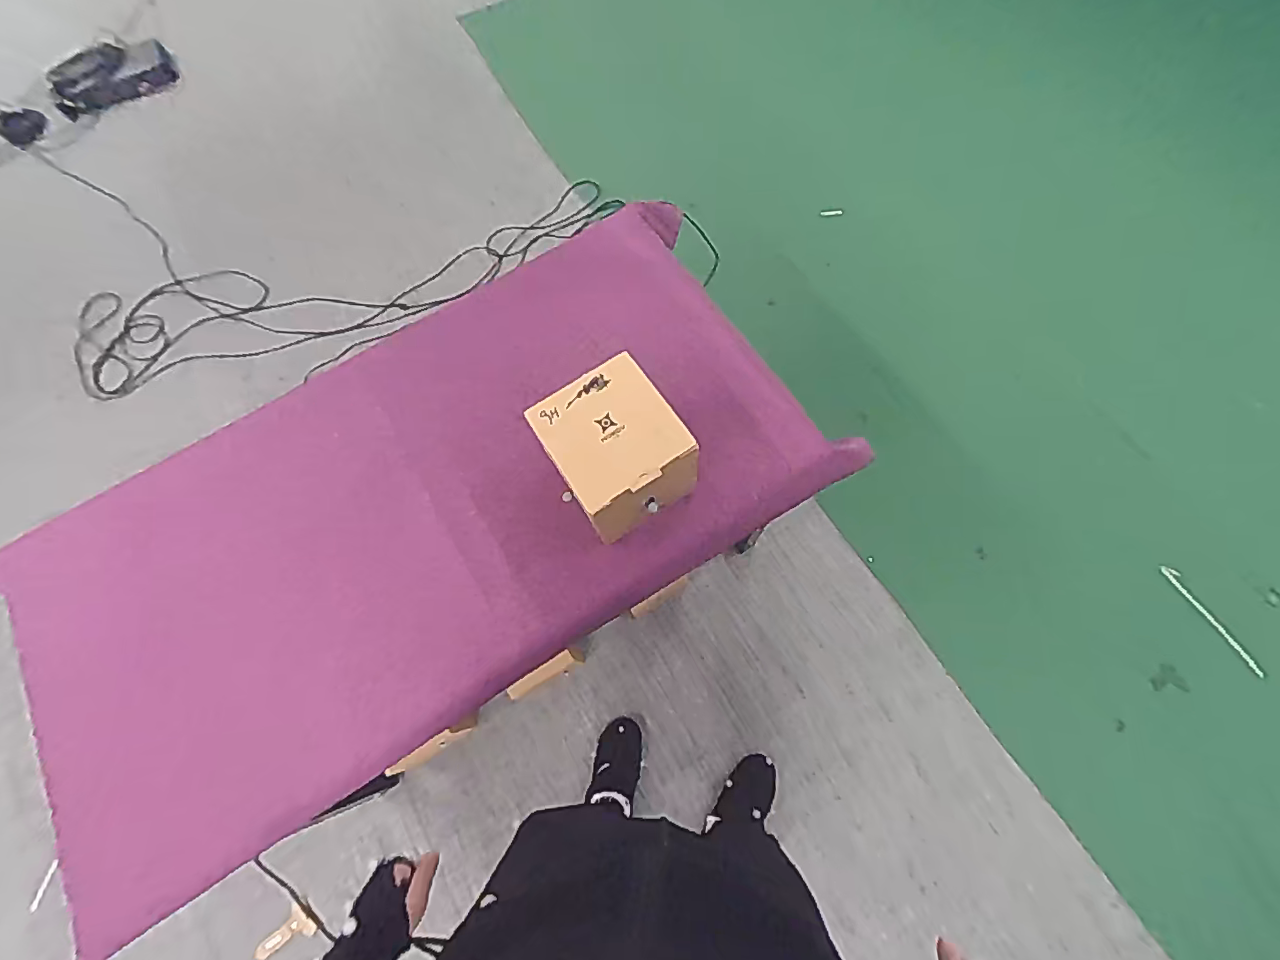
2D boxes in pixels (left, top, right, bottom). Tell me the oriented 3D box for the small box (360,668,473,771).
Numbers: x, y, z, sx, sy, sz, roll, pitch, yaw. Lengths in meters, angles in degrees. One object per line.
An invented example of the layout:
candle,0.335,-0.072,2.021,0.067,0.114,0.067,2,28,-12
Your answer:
small box,-0.553,0.594,1.356,0.179,0.176,0.168,-32,72,-8

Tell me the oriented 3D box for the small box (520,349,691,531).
small box,-0.040,-0.044,0.770,0.168,0.176,0.179,-32,71,-7

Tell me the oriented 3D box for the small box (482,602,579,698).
small box,-0.271,0.436,1.391,0.179,0.176,0.168,-31,71,-6

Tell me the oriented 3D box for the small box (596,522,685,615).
small box,0.007,0.242,1.437,0.179,0.176,0.168,-34,72,-8
